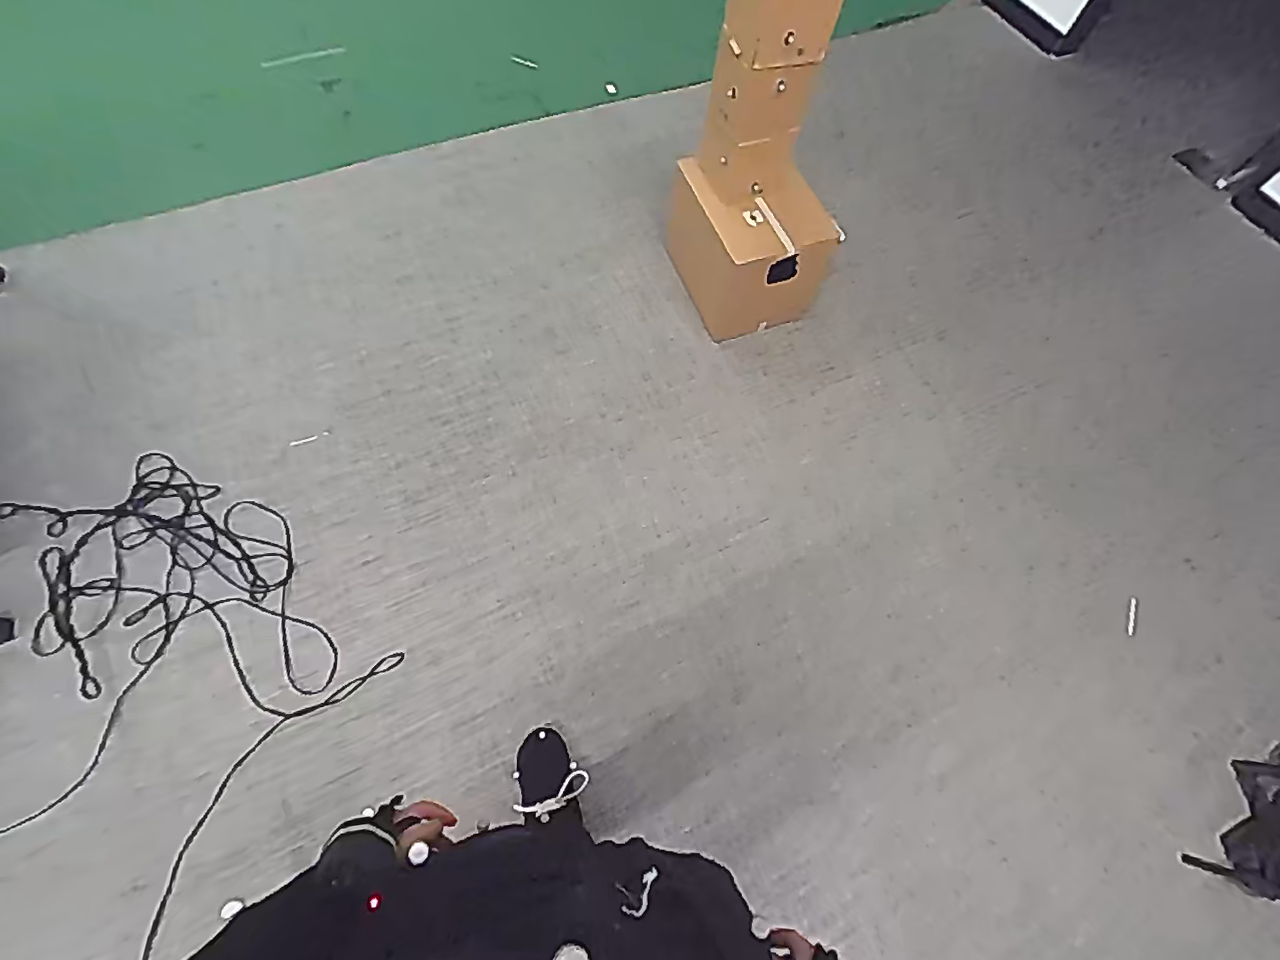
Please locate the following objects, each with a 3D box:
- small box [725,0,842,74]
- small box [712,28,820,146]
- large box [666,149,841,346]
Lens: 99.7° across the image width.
[{"bbox_3d":[0.286,-0.966,1.091,0.168,0.176,0.179,-14,70,-10],"label":"small box"},{"bbox_3d":[0.275,-0.902,1.241,0.179,0.176,0.168,-15,70,-11],"label":"small box"},{"bbox_3d":[0.303,-0.676,1.588,0.320,0.320,0.408,-19,70,-10],"label":"large box"}]
